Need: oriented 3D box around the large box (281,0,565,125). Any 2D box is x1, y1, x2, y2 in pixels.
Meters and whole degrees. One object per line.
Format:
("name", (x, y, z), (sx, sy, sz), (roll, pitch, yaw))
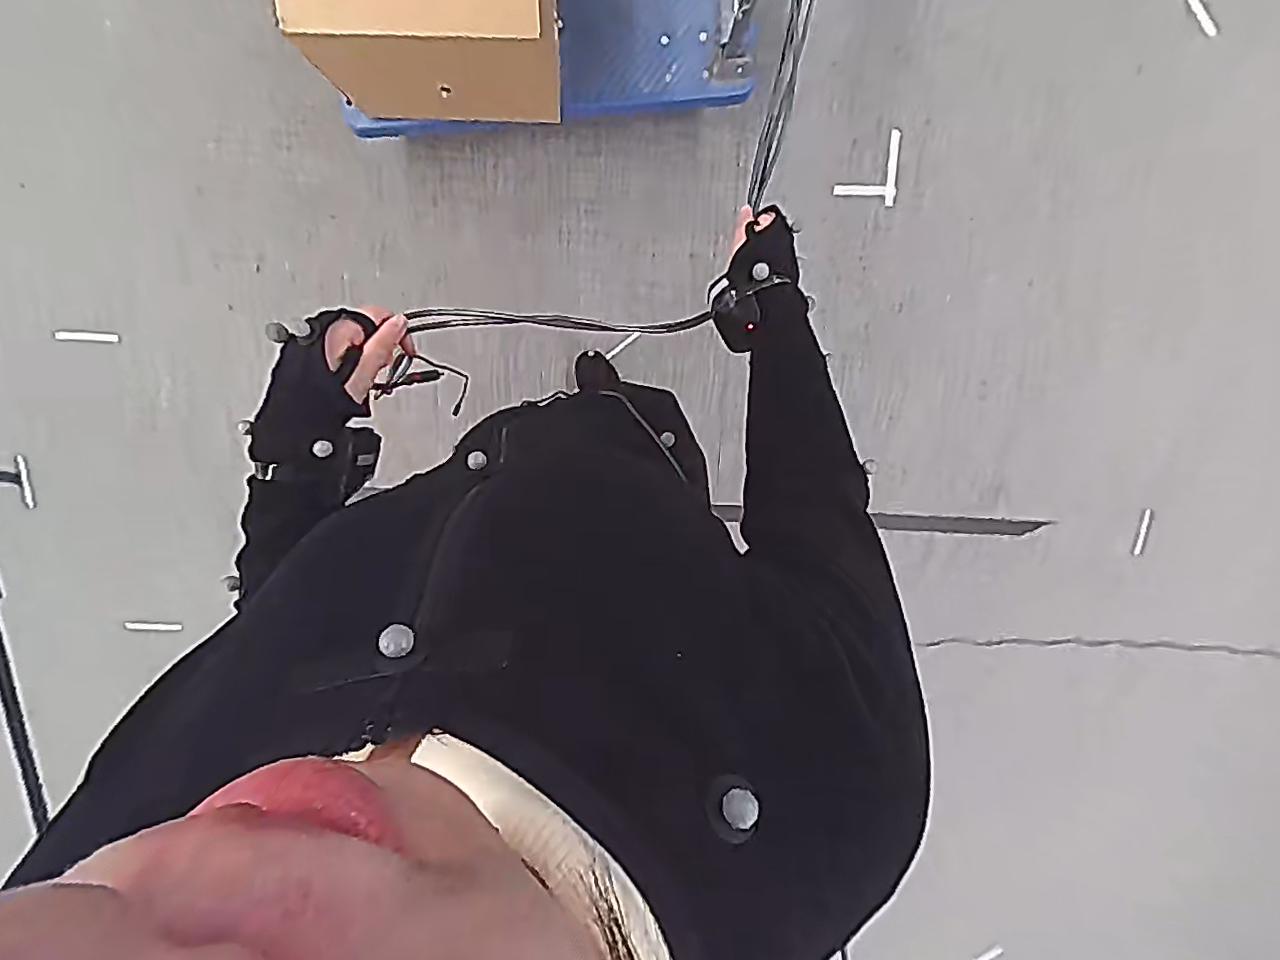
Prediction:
("large box", (-0.355, -0.859, 0.955), (0.408, 0.320, 0.320), (-1, 102, -2))
